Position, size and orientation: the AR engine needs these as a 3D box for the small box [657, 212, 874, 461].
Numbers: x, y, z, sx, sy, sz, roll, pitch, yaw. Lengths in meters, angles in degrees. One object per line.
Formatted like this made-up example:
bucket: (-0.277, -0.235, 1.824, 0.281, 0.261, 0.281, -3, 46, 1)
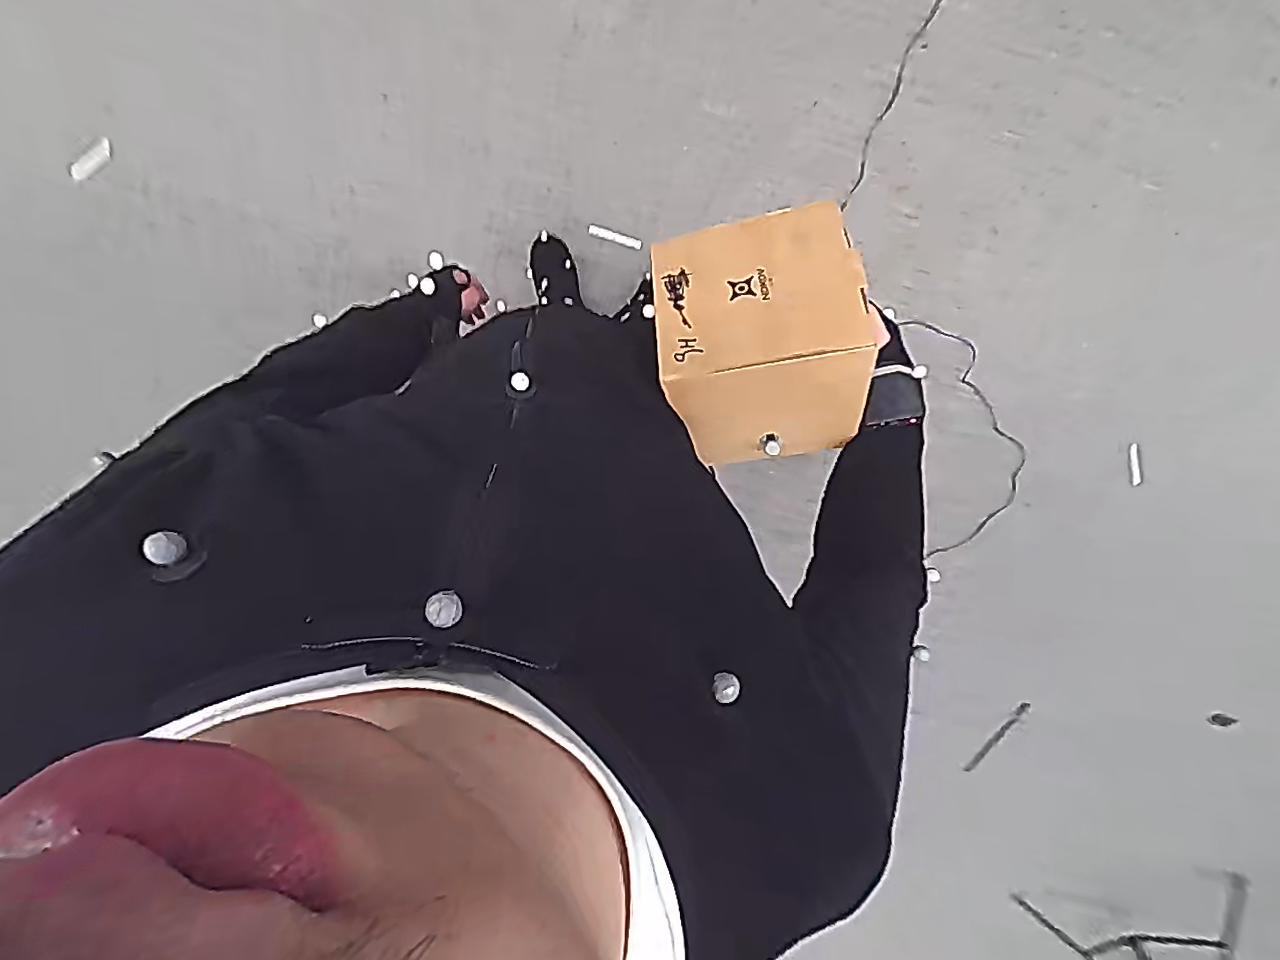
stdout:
small box: (0.121, -0.136, 0.560, 0.179, 0.168, 0.176, -8, 153, 11)
